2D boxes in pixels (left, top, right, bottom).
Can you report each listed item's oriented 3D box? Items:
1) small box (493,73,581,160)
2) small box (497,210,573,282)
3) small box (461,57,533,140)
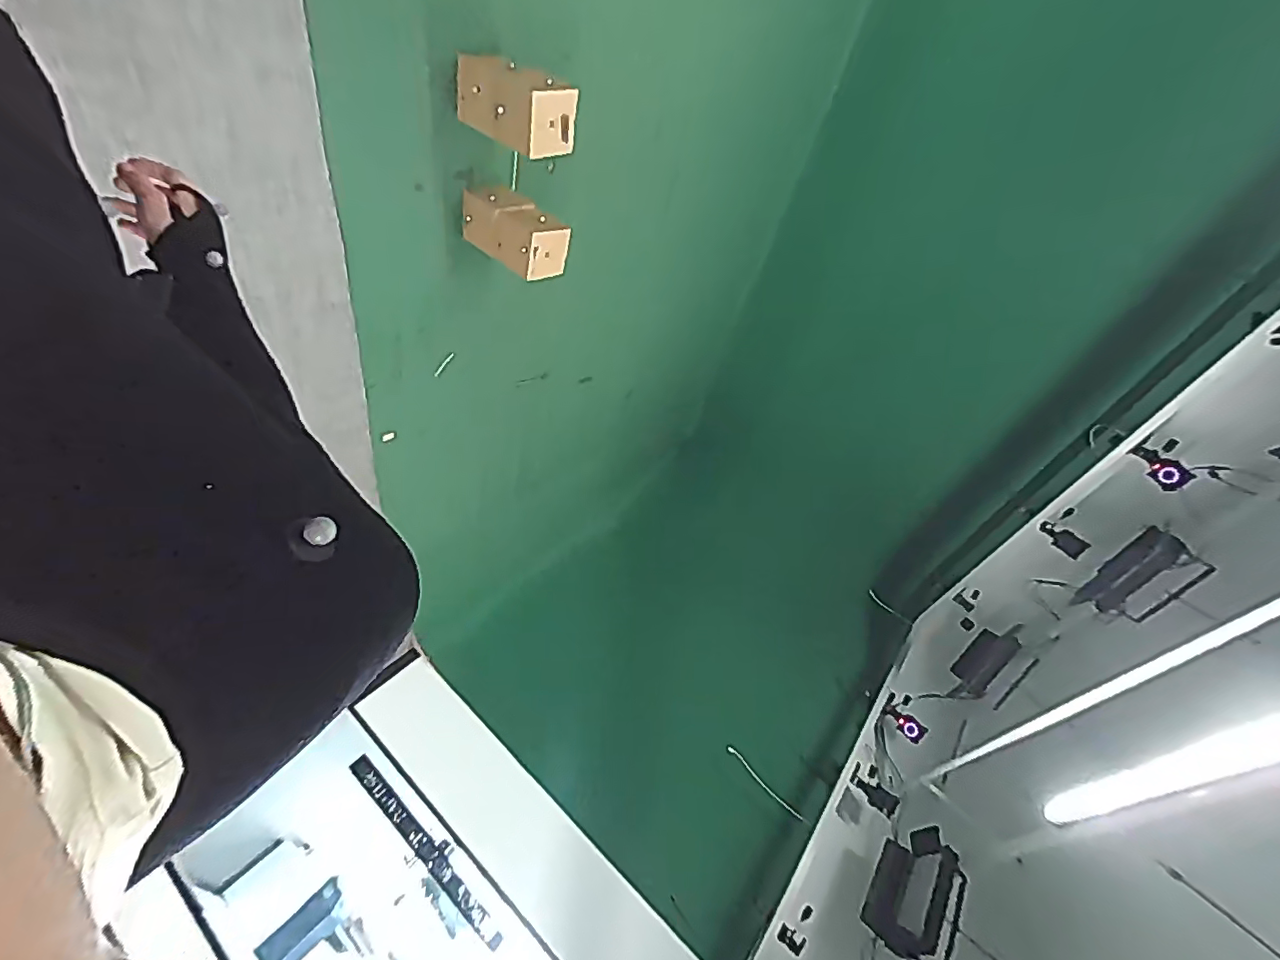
[{"bbox_3d":[-0.298,-1.048,1.554,0.179,0.176,0.168,-35,154,-37],"label":"small box"},{"bbox_3d":[-0.359,-0.802,1.845,0.179,0.176,0.168,-34,154,-43],"label":"small box"},{"bbox_3d":[-0.419,-1.140,1.619,0.179,0.176,0.168,-36,155,-40],"label":"small box"}]
